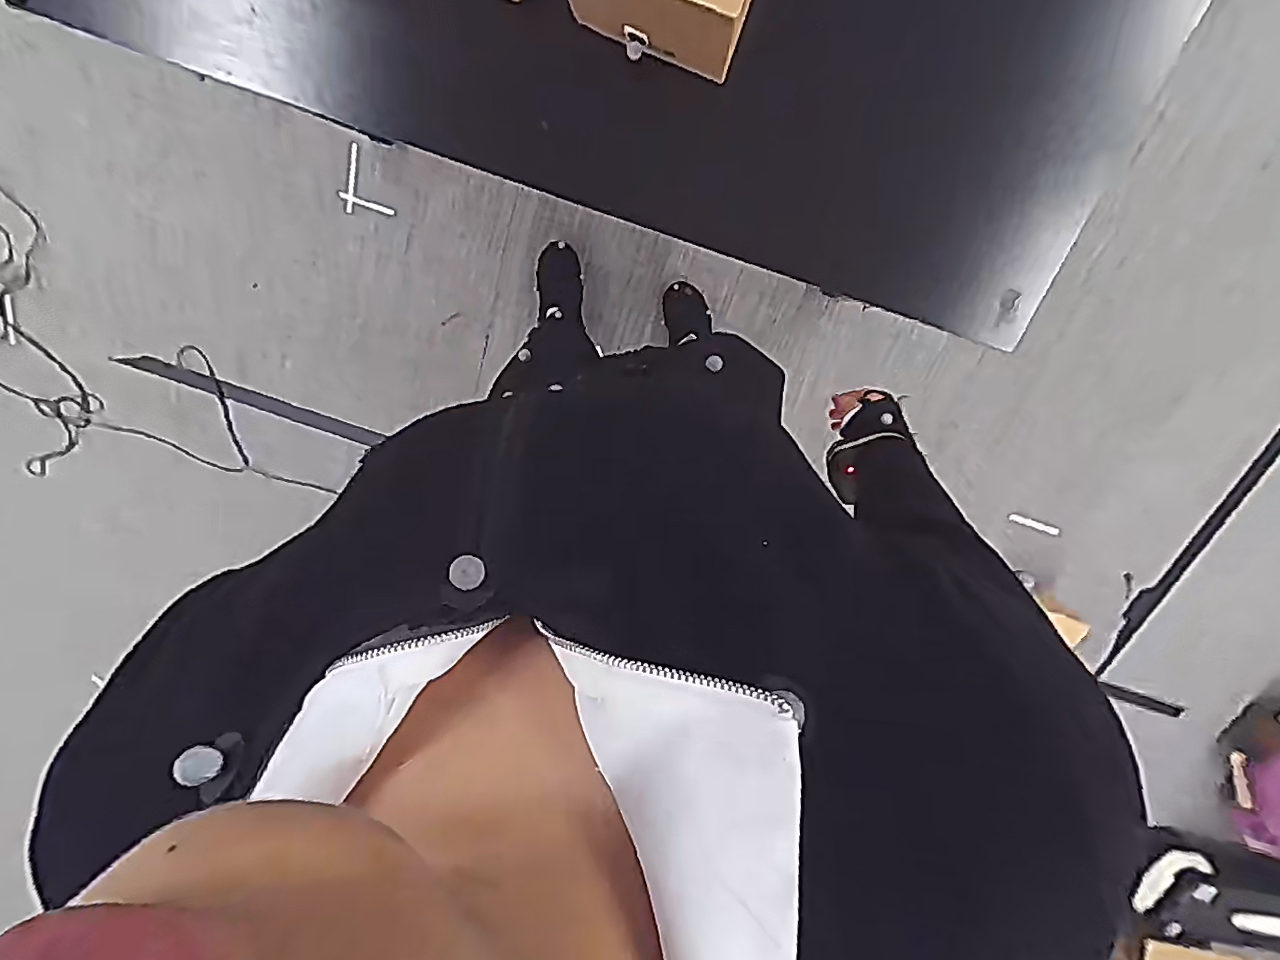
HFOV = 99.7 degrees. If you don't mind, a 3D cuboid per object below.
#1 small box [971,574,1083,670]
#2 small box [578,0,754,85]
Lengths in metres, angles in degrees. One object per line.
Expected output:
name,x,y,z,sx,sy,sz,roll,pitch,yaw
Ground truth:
small box,1.093,0.402,1.551,0.168,0.176,0.179,19,111,-4
small box,0.036,-0.499,0.480,0.168,0.176,0.179,19,112,-2
